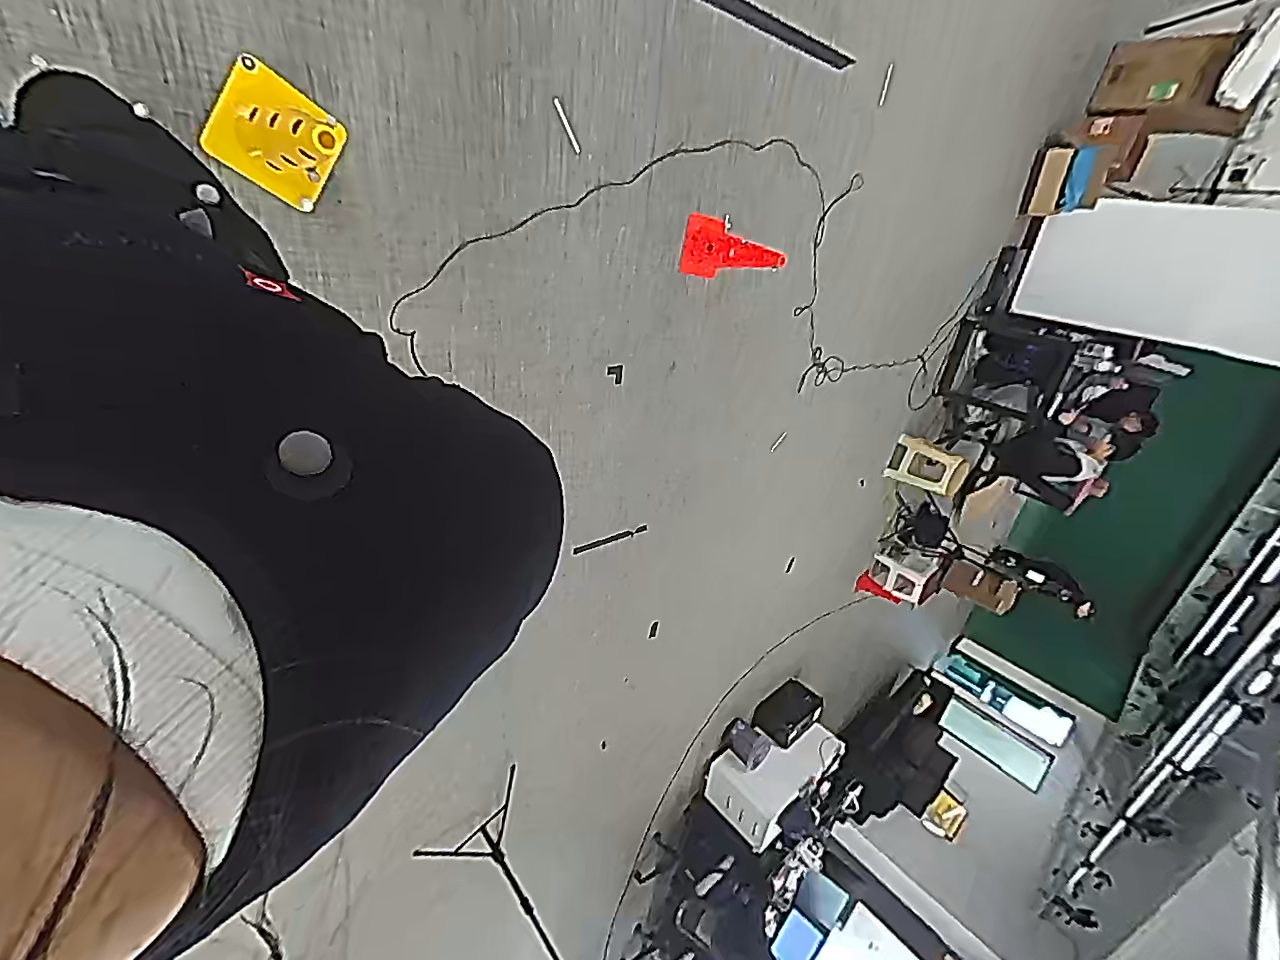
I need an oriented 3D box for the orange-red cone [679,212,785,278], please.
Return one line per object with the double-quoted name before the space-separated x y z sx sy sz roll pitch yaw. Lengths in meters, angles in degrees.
"orange-red cone" 0.334 -0.774 1.834 0.199 0.360 0.198 -8 118 -42
